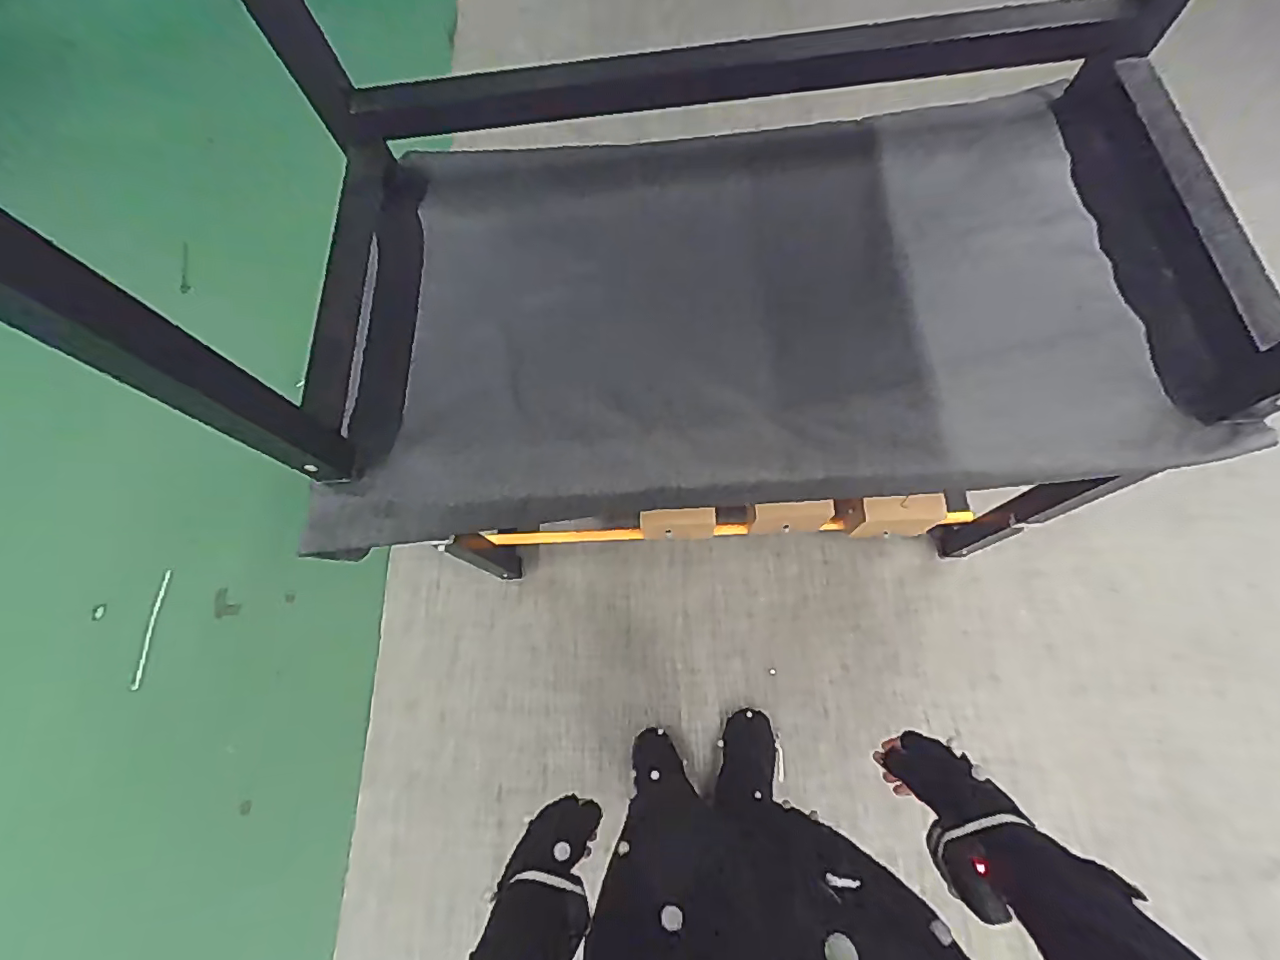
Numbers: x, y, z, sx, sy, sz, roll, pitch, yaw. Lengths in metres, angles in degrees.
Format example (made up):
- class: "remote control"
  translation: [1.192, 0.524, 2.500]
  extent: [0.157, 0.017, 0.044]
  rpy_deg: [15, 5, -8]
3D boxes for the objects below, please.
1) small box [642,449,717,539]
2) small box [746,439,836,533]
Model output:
- class: "small box"
  translation: [0.092, 0.040, 1.260]
  extent: [0.168, 0.176, 0.179]
  rpy_deg: [-2, 71, 4]
- class: "small box"
  translation: [0.337, 0.021, 1.240]
  extent: [0.168, 0.176, 0.179]
  rpy_deg: [-3, 71, 4]
